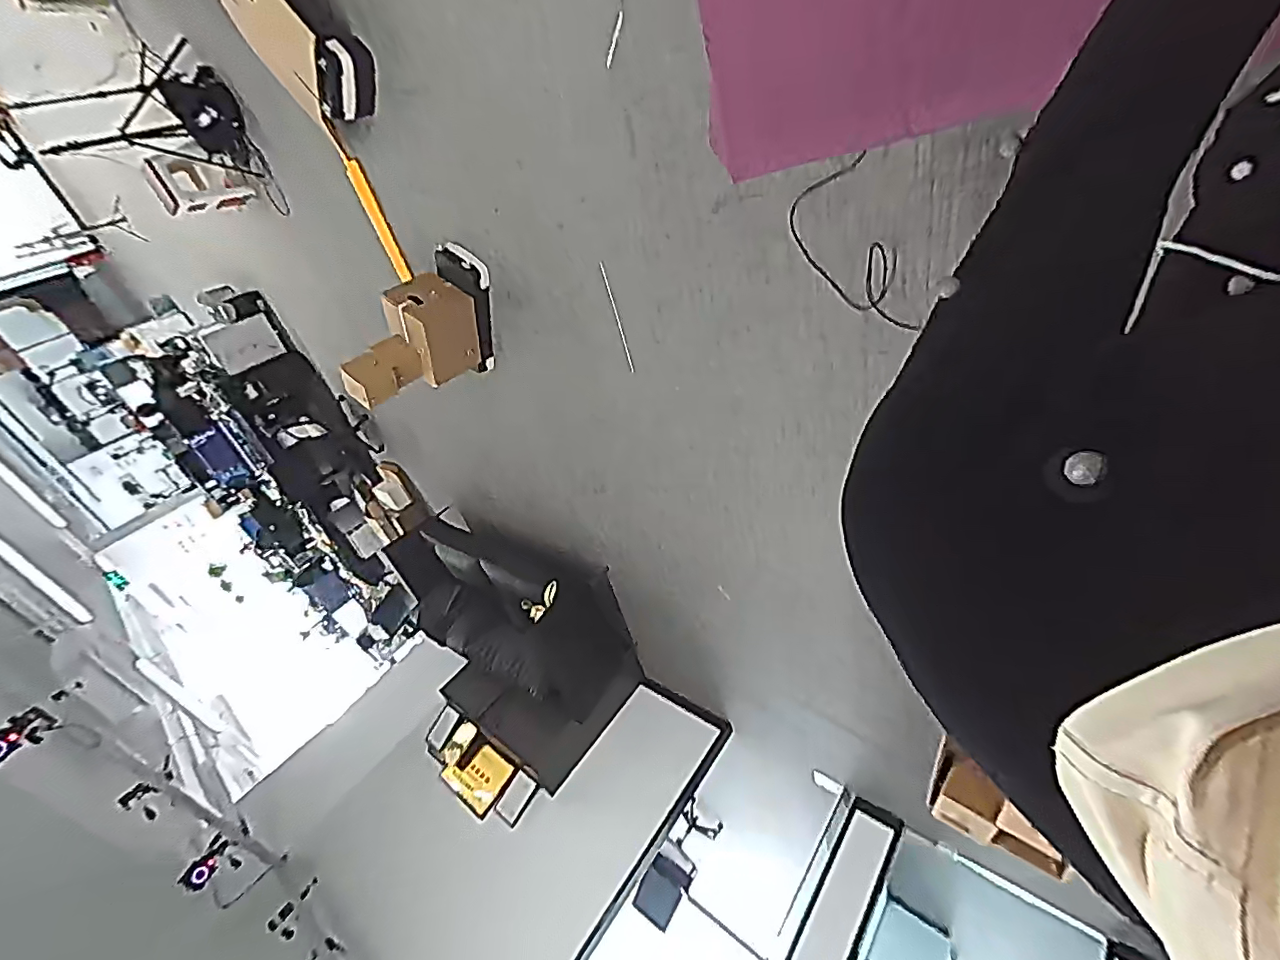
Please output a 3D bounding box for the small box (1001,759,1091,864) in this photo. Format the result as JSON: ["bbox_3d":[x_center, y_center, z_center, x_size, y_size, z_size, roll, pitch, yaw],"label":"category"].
[{"bbox_3d":[1.188,0.962,1.582,0.168,0.176,0.179,20,138,37],"label":"small box"}]
